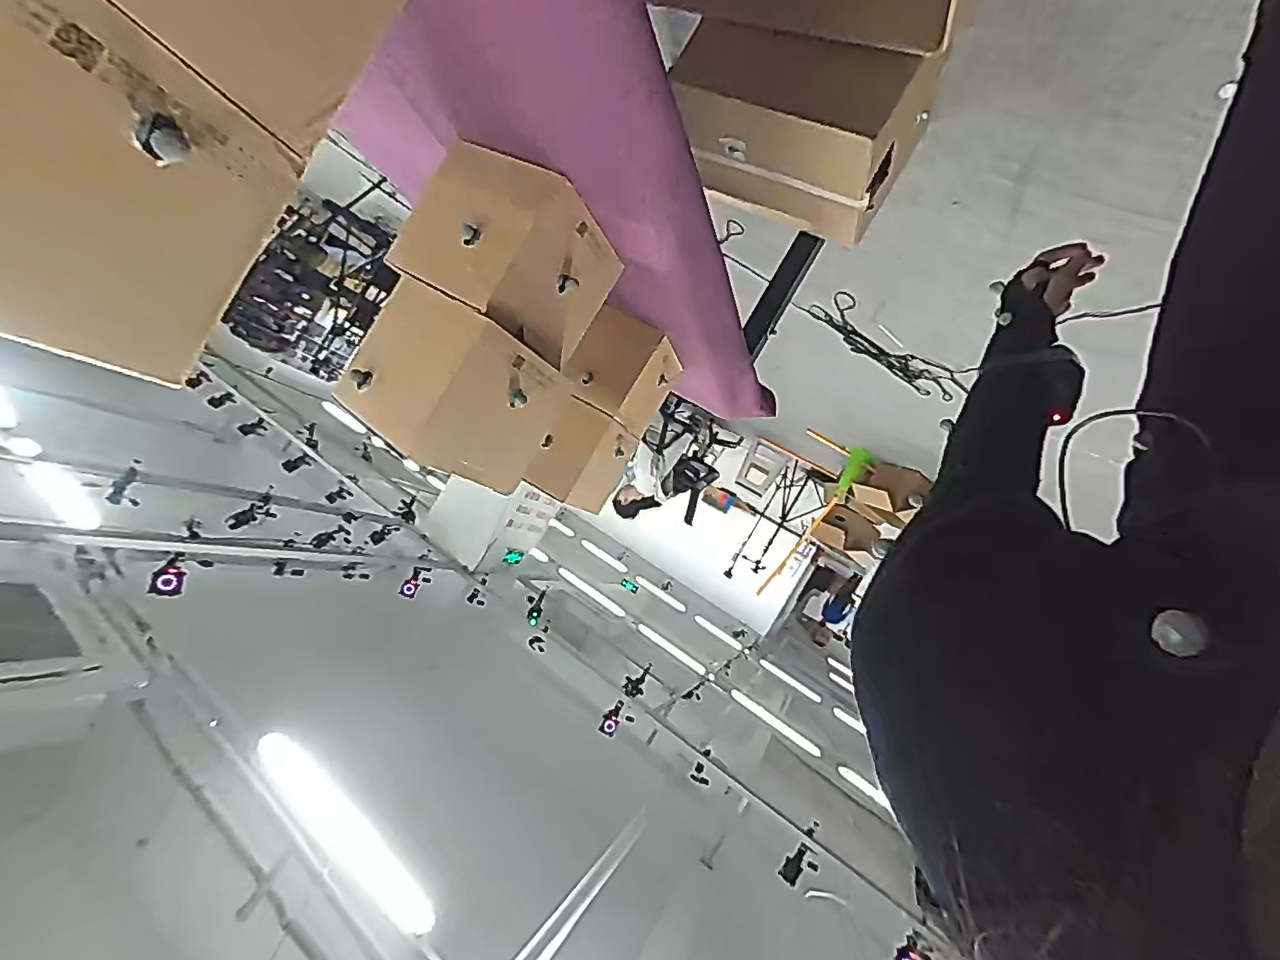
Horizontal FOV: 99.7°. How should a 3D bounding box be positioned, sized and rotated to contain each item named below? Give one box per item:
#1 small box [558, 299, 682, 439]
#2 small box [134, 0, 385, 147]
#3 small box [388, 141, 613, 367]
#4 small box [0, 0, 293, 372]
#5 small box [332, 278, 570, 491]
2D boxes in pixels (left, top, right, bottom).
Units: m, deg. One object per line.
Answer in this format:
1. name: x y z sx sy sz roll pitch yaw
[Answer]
1. small box: -0.048 -0.203 0.987 0.179 0.176 0.168 30 179 19
2. small box: -0.255 -0.332 0.291 0.179 0.176 0.168 31 180 20
3. small box: -0.154 -0.269 0.653 0.179 0.176 0.168 31 179 24
4. small box: -0.338 -0.193 0.296 0.179 0.176 0.168 31 -179 23
5. small box: -0.218 -0.115 0.650 0.179 0.176 0.168 31 180 31
